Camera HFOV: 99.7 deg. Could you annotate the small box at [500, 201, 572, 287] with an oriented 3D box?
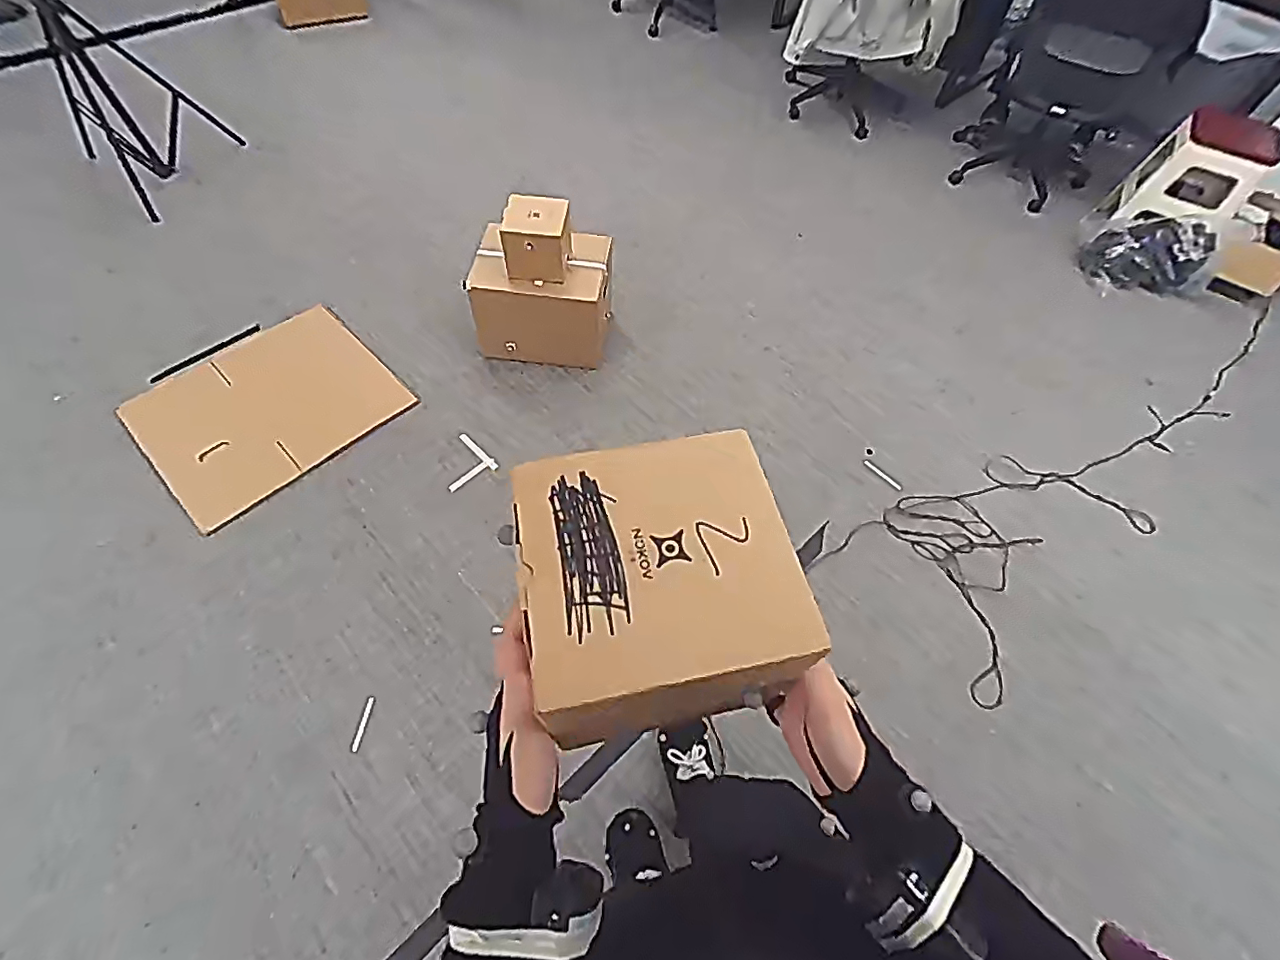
[{"bbox_3d":[-0.304,-0.701,1.618,0.179,0.176,0.168,5,61,-1],"label":"small box"}]
